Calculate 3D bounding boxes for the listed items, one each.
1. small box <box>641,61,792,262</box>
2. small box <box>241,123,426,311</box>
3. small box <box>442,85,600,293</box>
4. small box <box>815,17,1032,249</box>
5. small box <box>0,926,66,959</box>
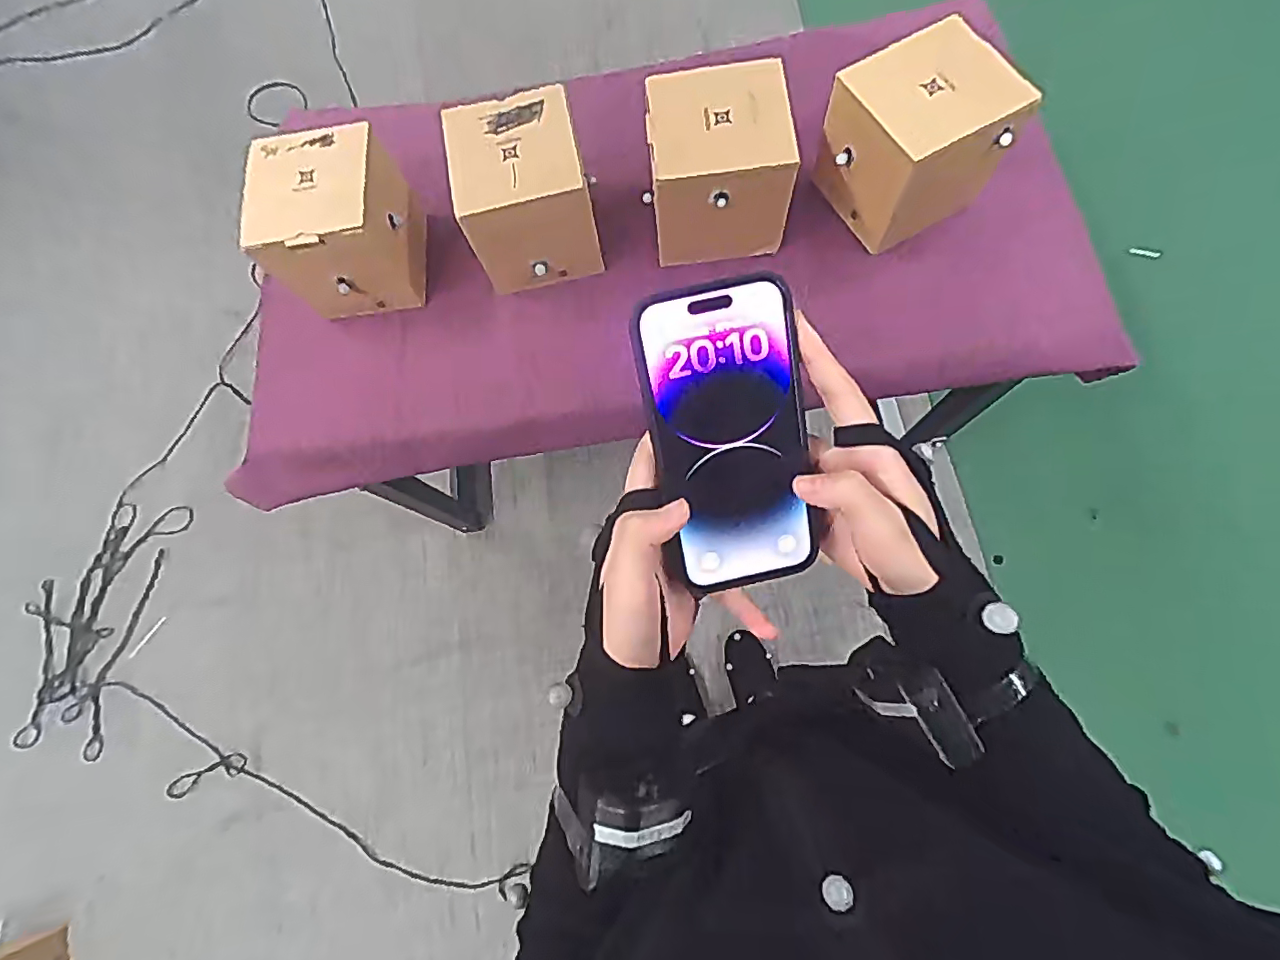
[{"bbox_3d":[0.099,-0.424,0.744,0.179,0.176,0.168,-5,75,4],"label":"small box"},{"bbox_3d":[-0.424,-0.361,0.776,0.168,0.176,0.179,-7,74,4],"label":"small box"},{"bbox_3d":[-0.159,-0.398,0.761,0.168,0.176,0.179,-12,74,2],"label":"small box"},{"bbox_3d":[0.356,-0.451,0.726,0.179,0.176,0.168,-28,73,-3],"label":"small box"},{"bbox_3d":[-1.445,1.144,1.203,0.179,0.176,0.168,-16,74,1],"label":"small box"}]
